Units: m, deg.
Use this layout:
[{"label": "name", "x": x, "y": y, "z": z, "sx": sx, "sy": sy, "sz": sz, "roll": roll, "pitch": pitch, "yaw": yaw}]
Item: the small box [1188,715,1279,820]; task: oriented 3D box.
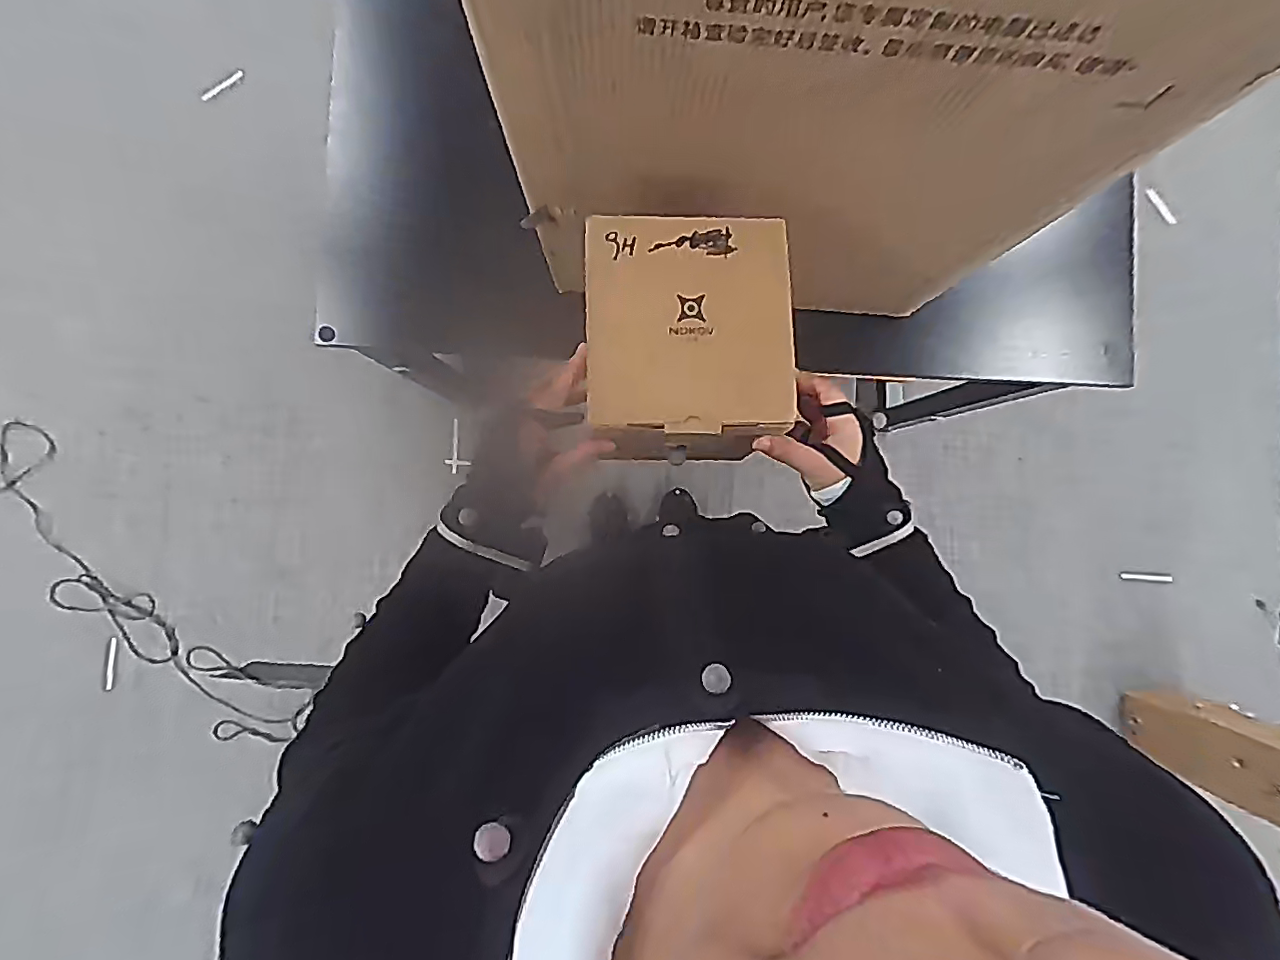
[{"label": "small box", "x": 1.469, "y": 0.678, "z": 1.290, "sx": 0.168, "sy": 0.176, "sz": 0.179, "roll": 2, "pitch": 88, "yaw": -1}]

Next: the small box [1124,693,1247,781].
[{"label": "small box", "x": 1.463, "y": 0.683, "z": 1.454, "sx": 0.179, "sy": 0.176, "sz": 0.168, "roll": -2, "pitch": 87, "yaw": -1}]

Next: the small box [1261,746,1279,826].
[{"label": "small box", "x": 1.477, "y": 0.676, "z": 1.125, "sx": 0.179, "sy": 0.176, "sz": 0.168, "roll": 5, "pitch": 87, "yaw": -1}]
